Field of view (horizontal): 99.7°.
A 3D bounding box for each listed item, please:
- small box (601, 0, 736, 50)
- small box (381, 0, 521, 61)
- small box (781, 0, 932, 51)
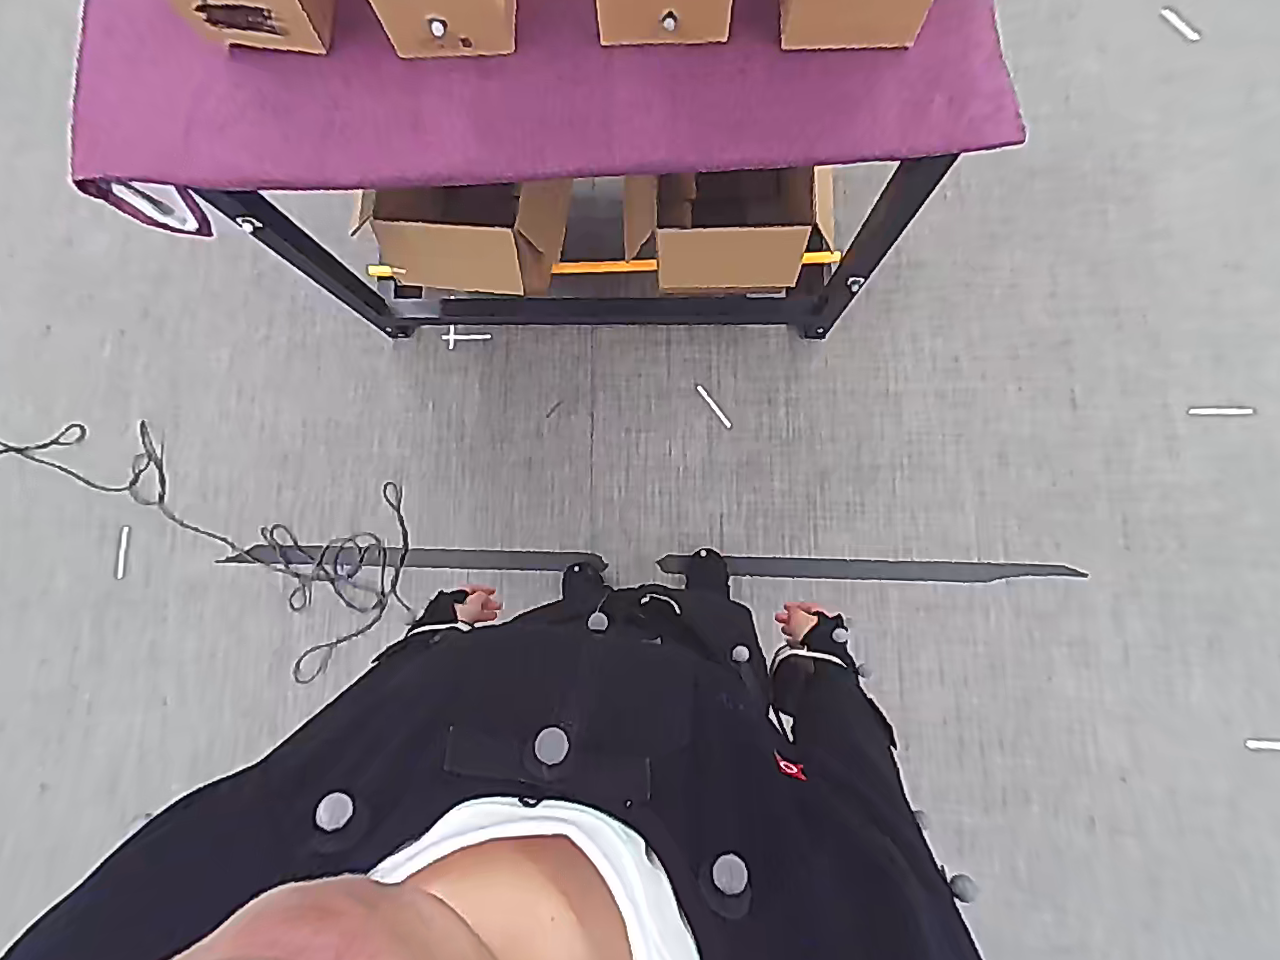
[{"bbox_3d":[0.036,-0.688,0.676,0.179,0.176,0.168,2,82,3],"label":"small box"},{"bbox_3d":[-0.253,-0.688,0.693,0.168,0.176,0.179,0,84,3],"label":"small box"},{"bbox_3d":[0.281,-0.671,0.665,0.179,0.176,0.168,1,81,3],"label":"small box"}]
